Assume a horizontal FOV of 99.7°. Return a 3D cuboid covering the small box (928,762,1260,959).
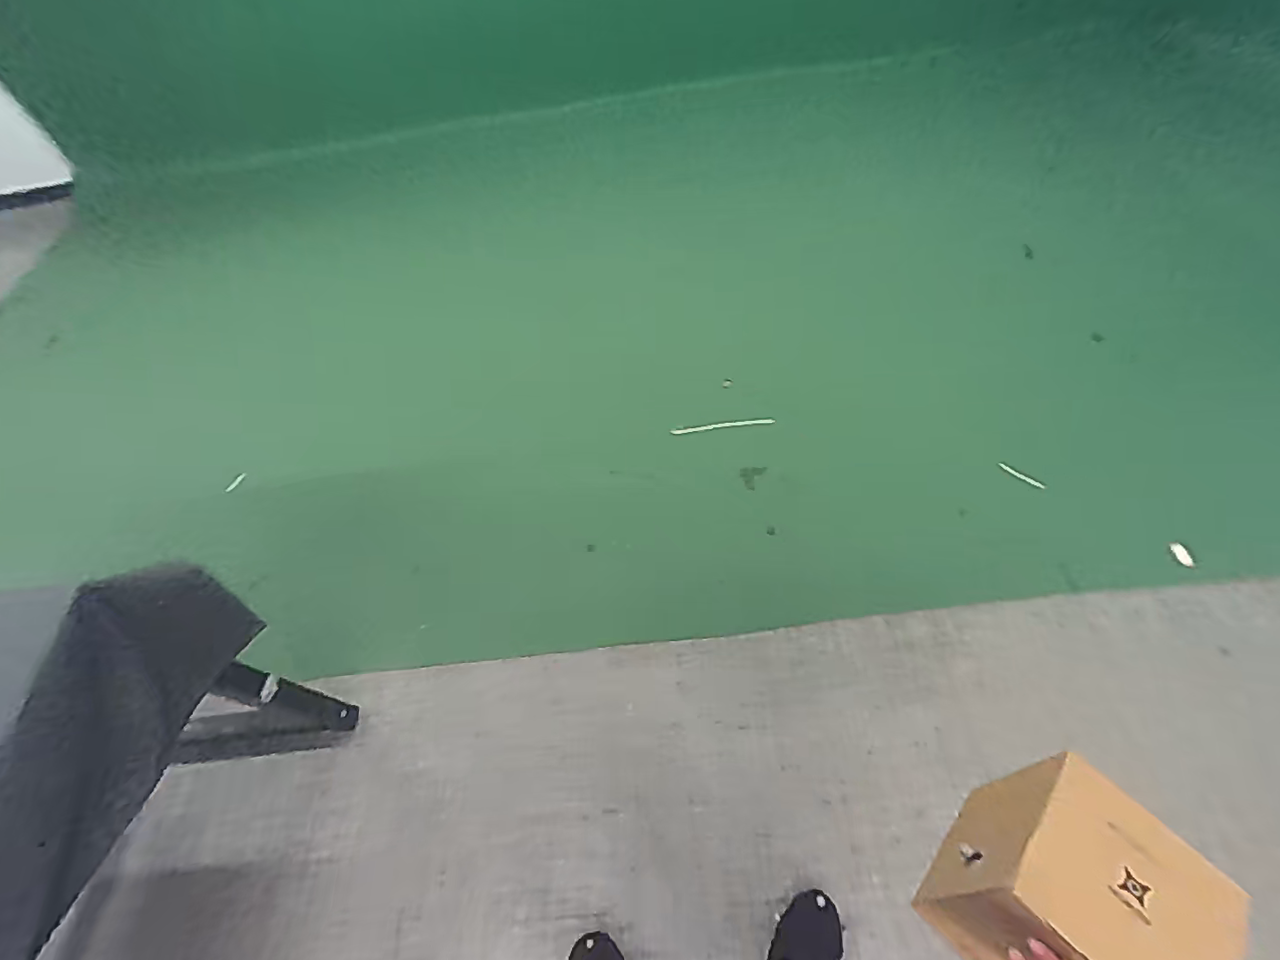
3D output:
[{"bbox_3d":[0.418,0.422,0.524,0.179,0.176,0.168,-29,60,-34],"label":"small box"}]
